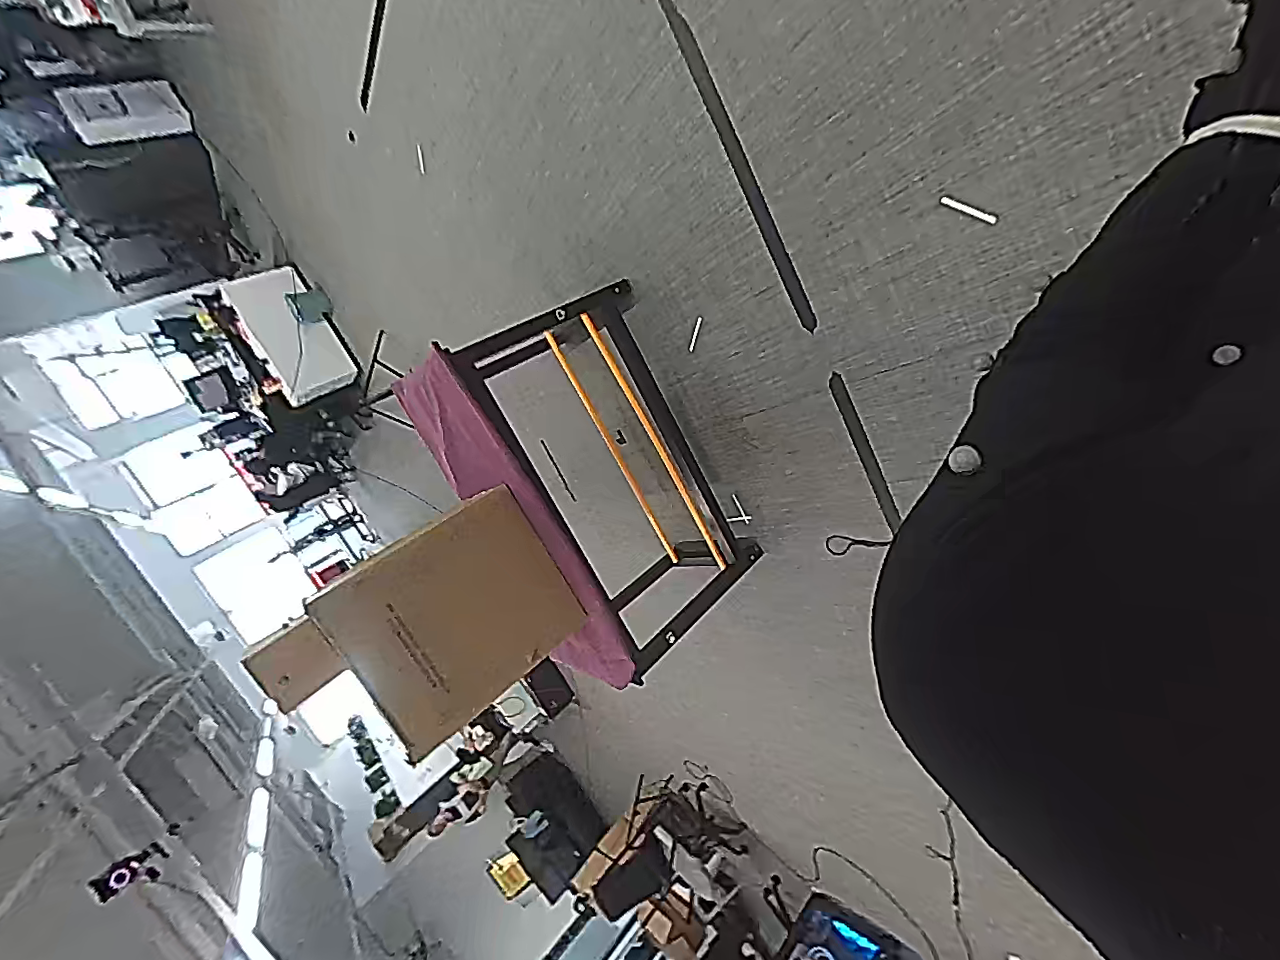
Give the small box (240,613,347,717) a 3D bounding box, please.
[{"bbox_3d":[-0.892,0.471,1.402,0.168,0.176,0.179,-13,111,55],"label":"small box"}]
